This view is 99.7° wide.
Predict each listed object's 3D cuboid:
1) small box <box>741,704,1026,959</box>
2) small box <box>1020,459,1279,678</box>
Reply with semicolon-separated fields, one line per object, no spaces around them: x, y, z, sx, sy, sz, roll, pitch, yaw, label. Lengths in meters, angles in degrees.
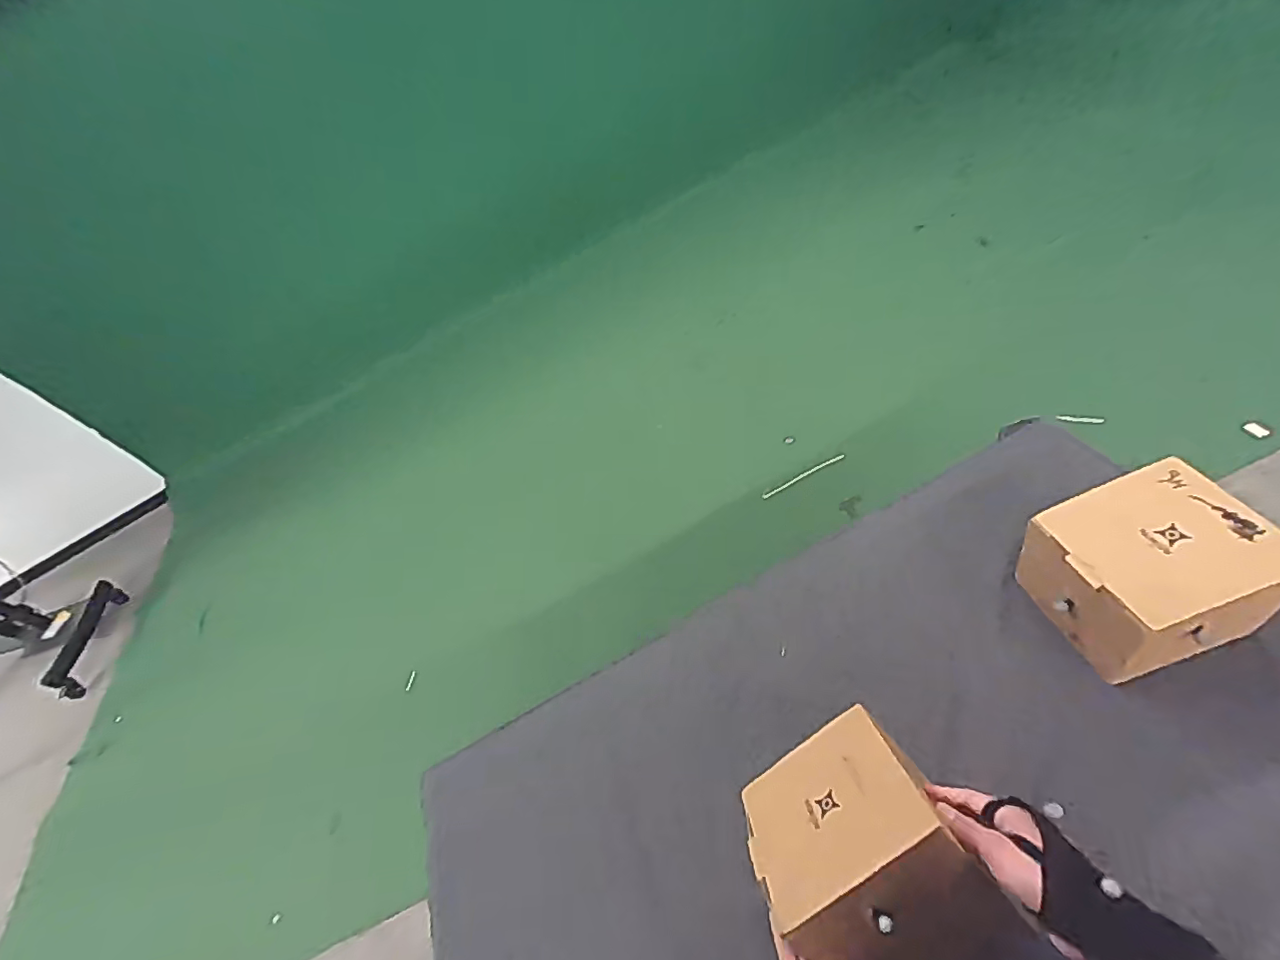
0.235;0.382;0.555;0.179;0.176;0.168;-39;12;7;small box
0.596;0.113;0.652;0.179;0.176;0.168;-25;46;7;small box
